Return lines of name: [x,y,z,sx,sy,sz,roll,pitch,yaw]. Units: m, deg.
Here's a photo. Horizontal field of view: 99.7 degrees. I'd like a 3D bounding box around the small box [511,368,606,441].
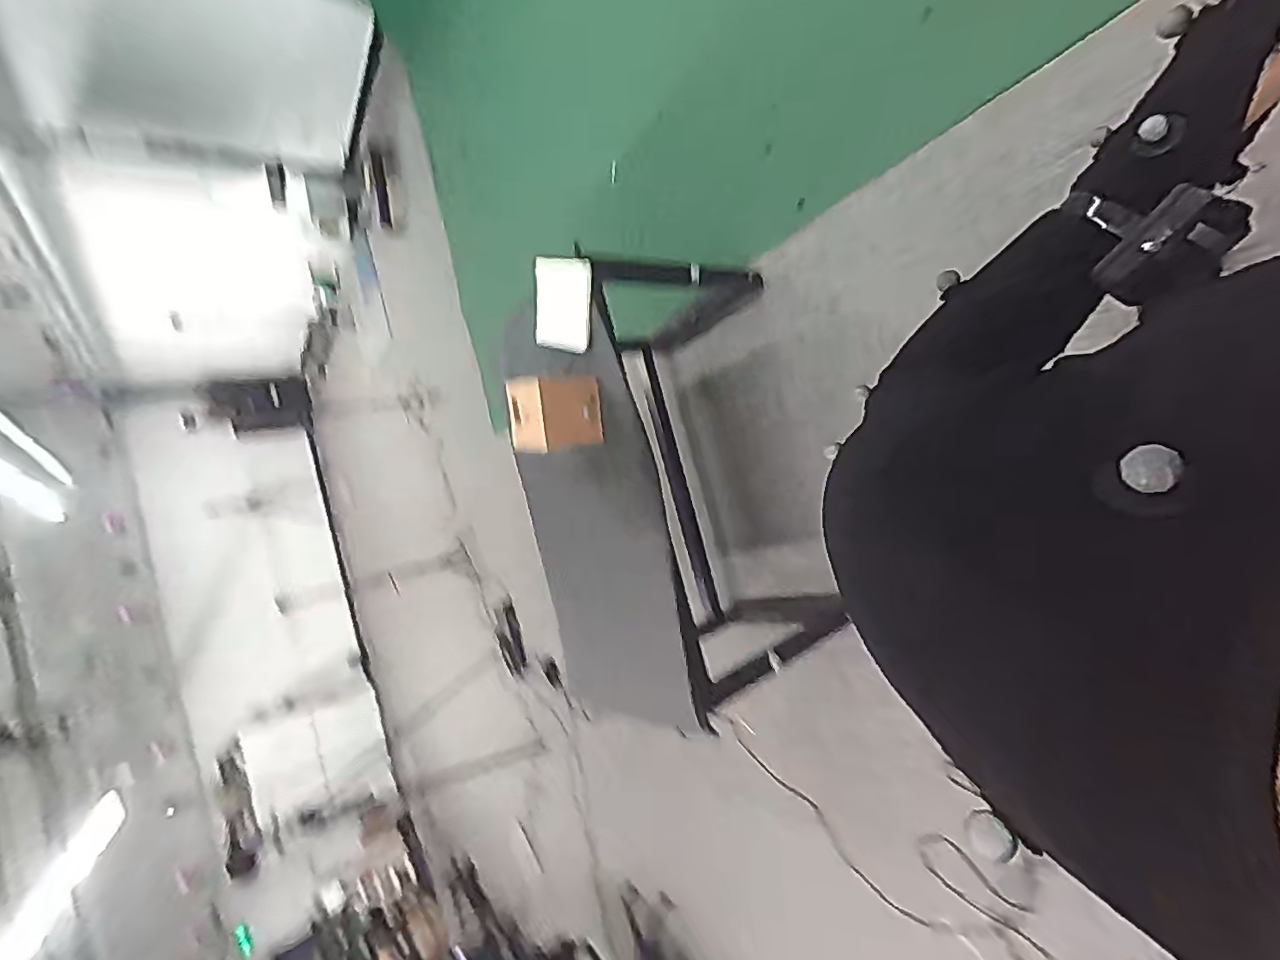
small box: [-0.205,-0.191,1.368,0.179,0.176,0.168,7,106,51]
